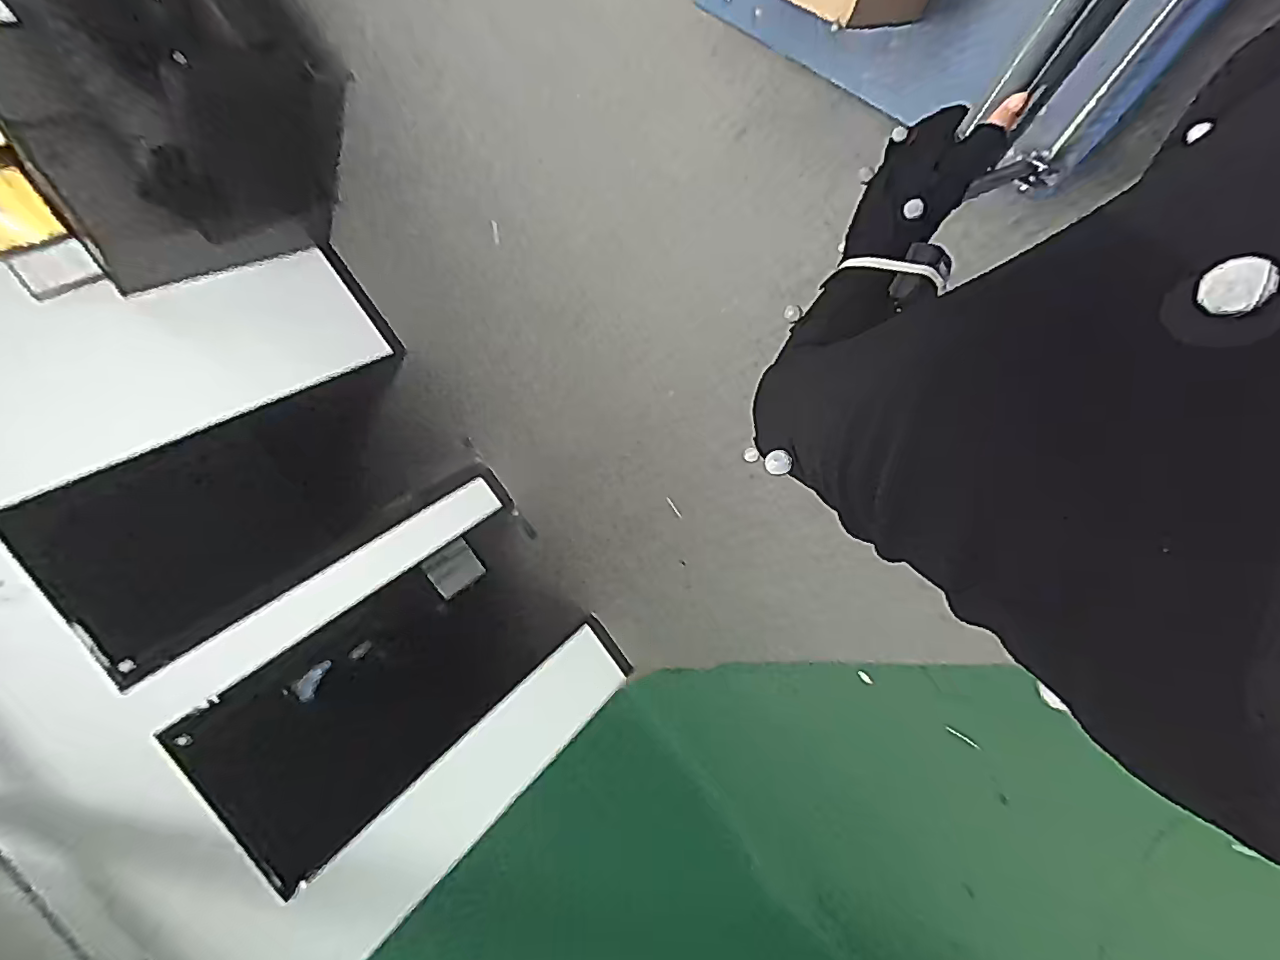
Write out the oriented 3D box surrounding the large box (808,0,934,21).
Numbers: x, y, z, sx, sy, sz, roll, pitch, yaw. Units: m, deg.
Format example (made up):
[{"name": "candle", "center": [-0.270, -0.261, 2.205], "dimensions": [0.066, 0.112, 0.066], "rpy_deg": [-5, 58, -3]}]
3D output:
[{"name": "large box", "center": [0.340, -0.955, 0.755], "dimensions": [0.320, 0.320, 0.408], "rpy_deg": [41, 145, 17]}]
